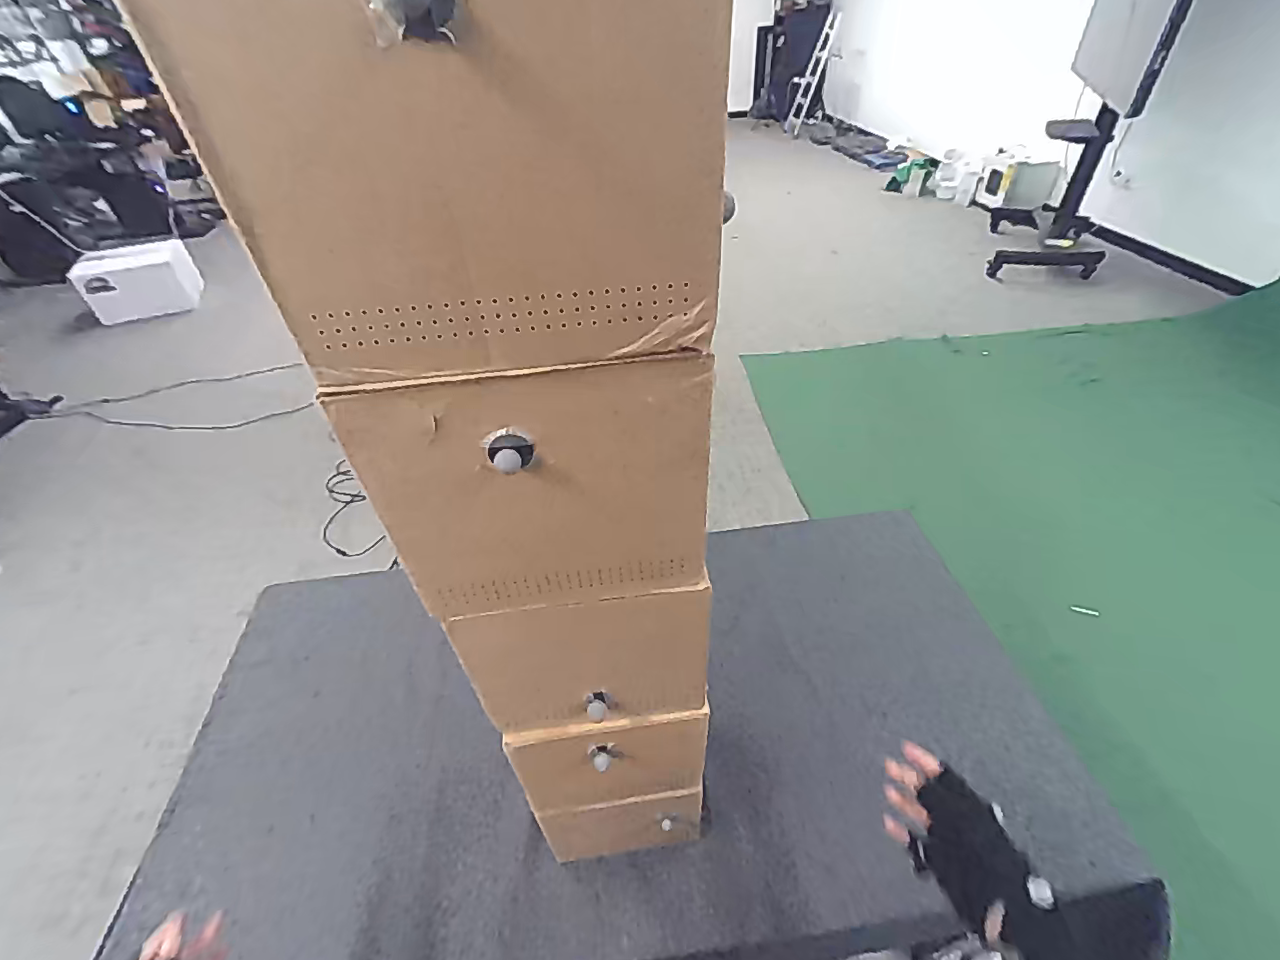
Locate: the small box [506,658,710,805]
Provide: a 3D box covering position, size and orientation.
[{"bbox_3d":[-0.033,0.213,0.564,0.179,0.176,0.168,-7,42,-4],"label":"small box"}]

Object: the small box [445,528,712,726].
[{"bbox_3d":[-0.044,0.087,0.460,0.179,0.176,0.168,-5,41,-3],"label":"small box"}]

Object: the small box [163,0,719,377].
[{"bbox_3d":[-0.062,-0.160,0.245,0.179,0.176,0.168,-6,43,-1],"label":"small box"}]

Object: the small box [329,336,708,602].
[{"bbox_3d":[-0.057,-0.037,0.354,0.179,0.176,0.168,-7,42,-4],"label":"small box"}]
